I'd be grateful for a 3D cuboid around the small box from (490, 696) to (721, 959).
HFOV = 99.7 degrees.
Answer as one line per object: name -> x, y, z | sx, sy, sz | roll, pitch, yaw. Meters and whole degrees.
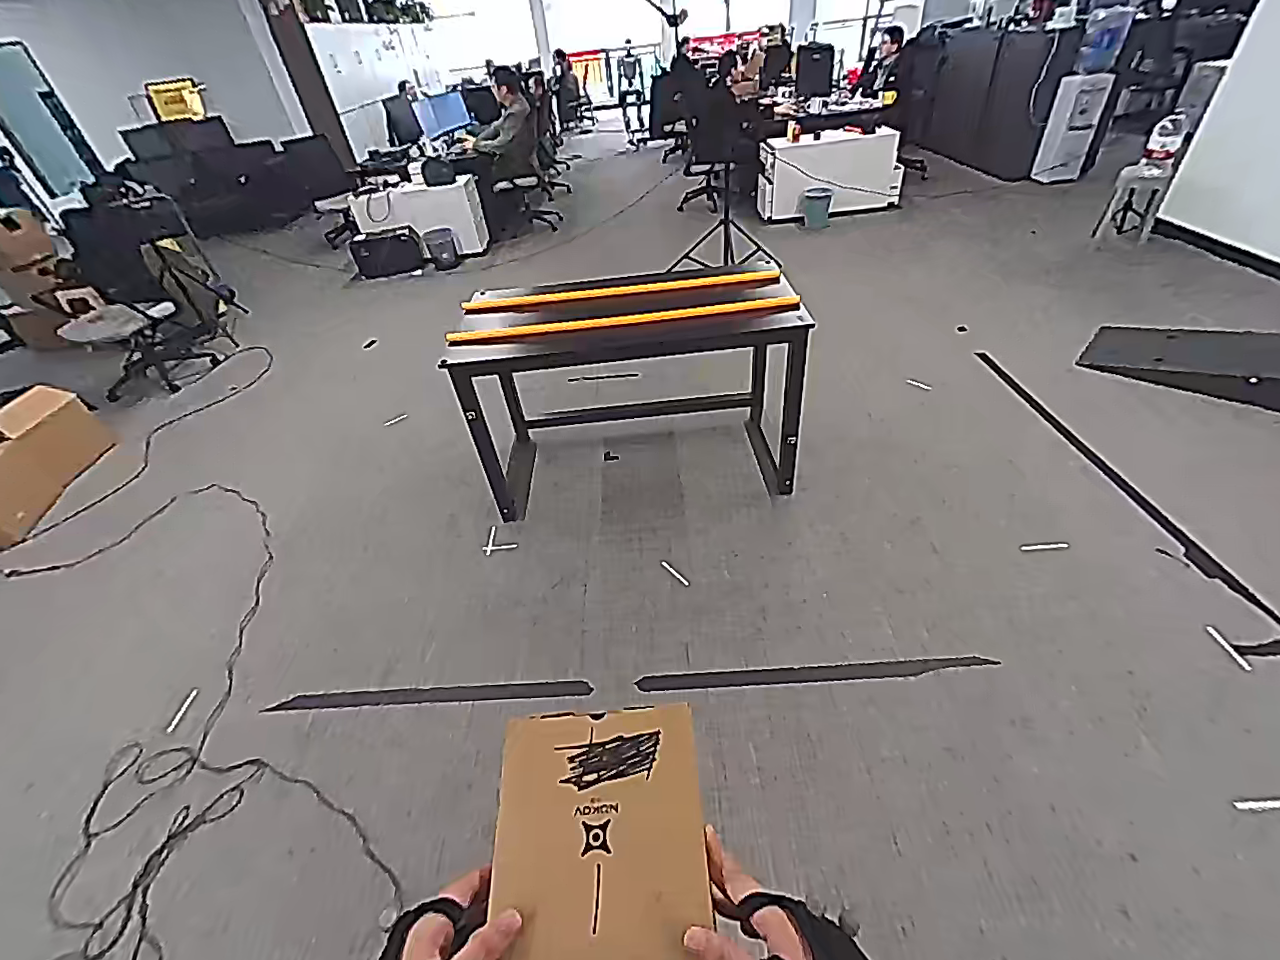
small box -> -0.020, 0.319, 0.491 | 0.168, 0.176, 0.179 | -7, 49, 3
